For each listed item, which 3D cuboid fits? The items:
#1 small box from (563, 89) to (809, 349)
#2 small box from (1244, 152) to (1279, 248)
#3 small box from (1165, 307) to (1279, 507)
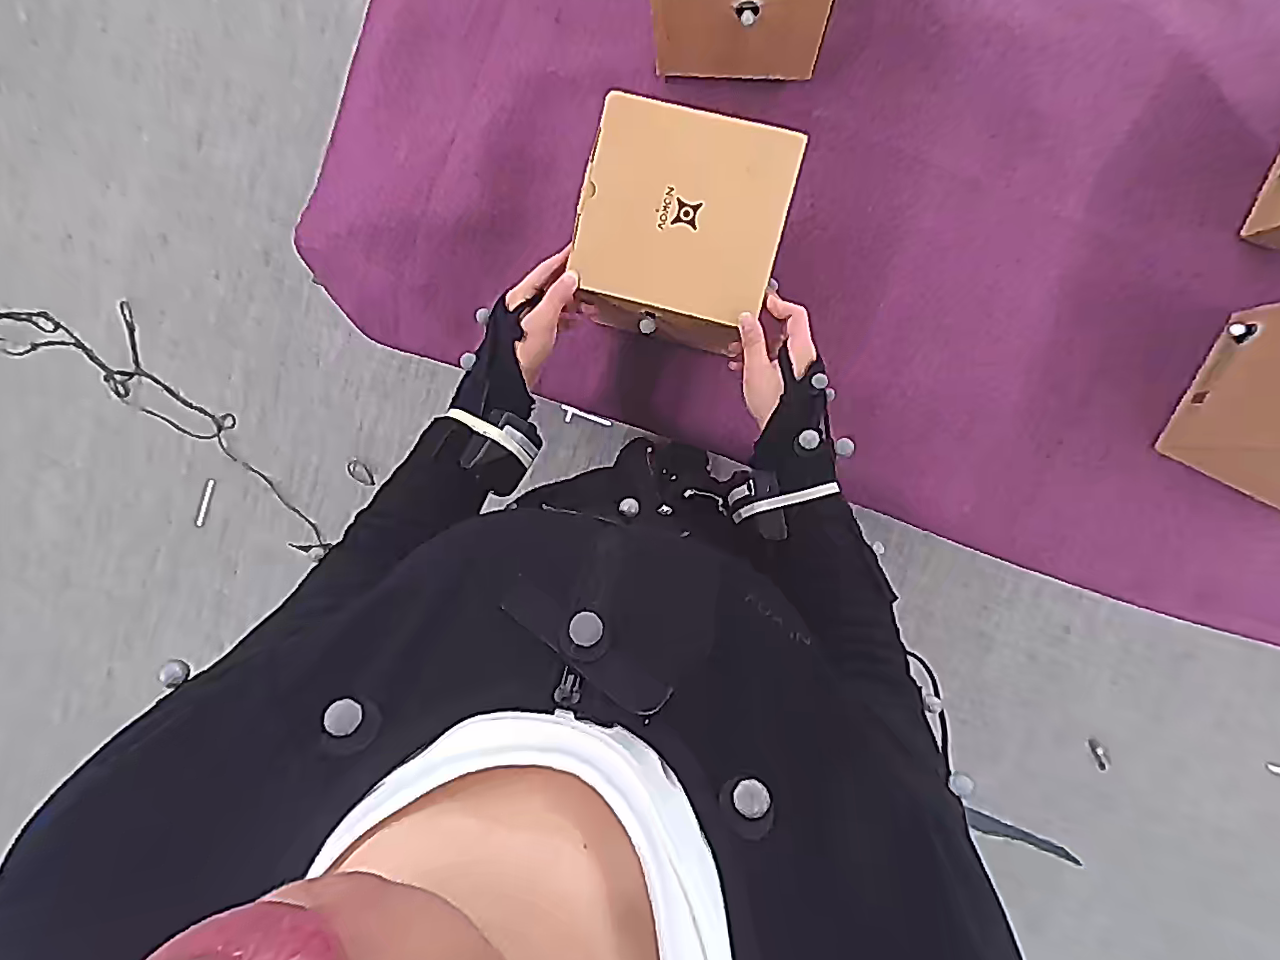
[{"bbox_3d":[0.043,-0.235,0.536,0.179,0.176,0.168,15,96,4],"label":"small box"},{"bbox_3d":[0.727,-0.290,0.472,0.179,0.176,0.168,21,97,2],"label":"small box"},{"bbox_3d":[0.664,-0.064,0.498,0.179,0.176,0.168,26,96,2],"label":"small box"}]
